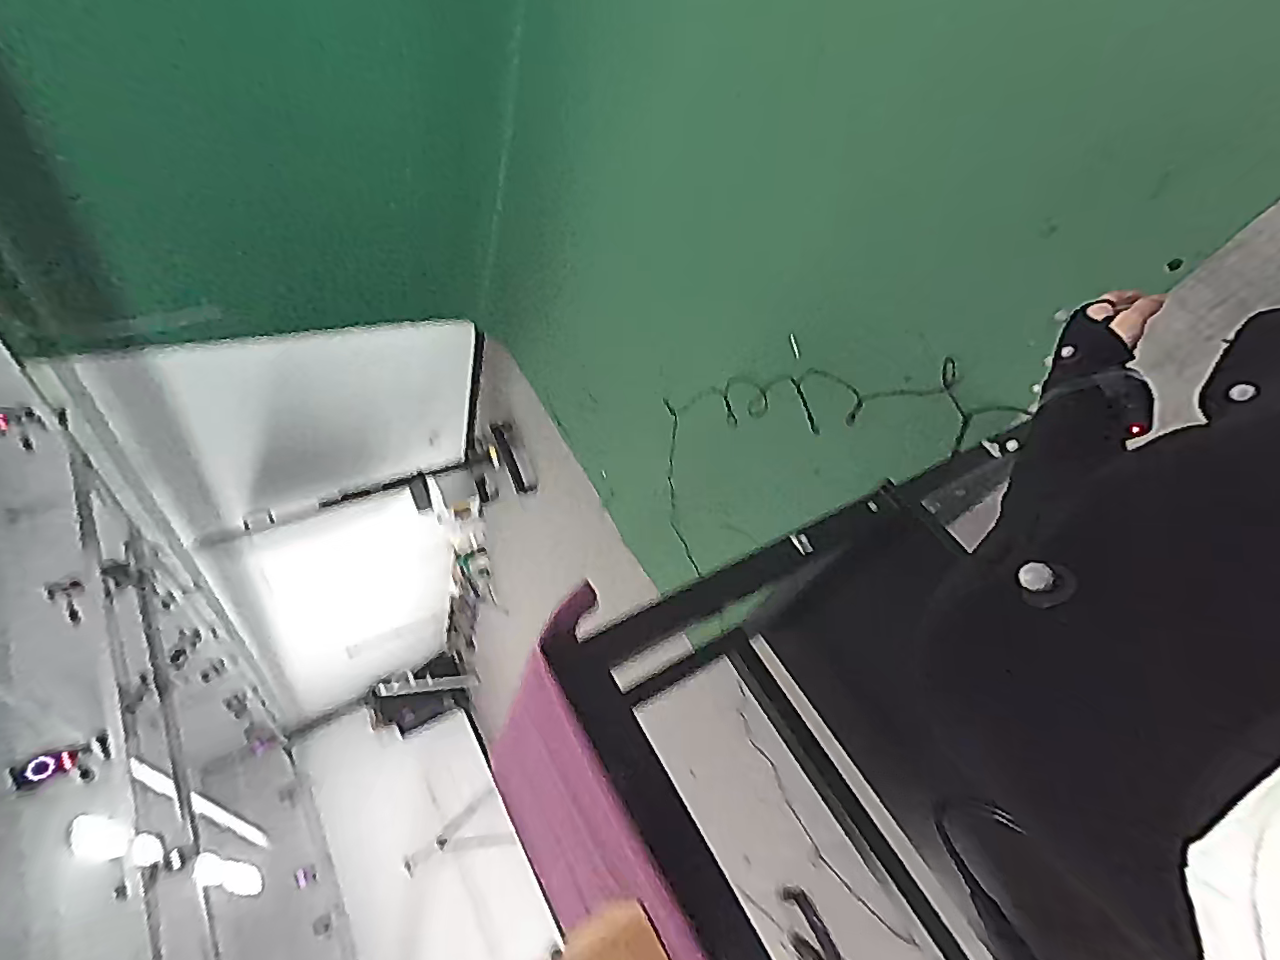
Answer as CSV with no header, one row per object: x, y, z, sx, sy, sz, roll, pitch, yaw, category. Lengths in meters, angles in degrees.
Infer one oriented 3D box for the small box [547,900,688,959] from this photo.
-0.026,0.585,0.572,0.179,0.176,0.168,54,144,24,small box
